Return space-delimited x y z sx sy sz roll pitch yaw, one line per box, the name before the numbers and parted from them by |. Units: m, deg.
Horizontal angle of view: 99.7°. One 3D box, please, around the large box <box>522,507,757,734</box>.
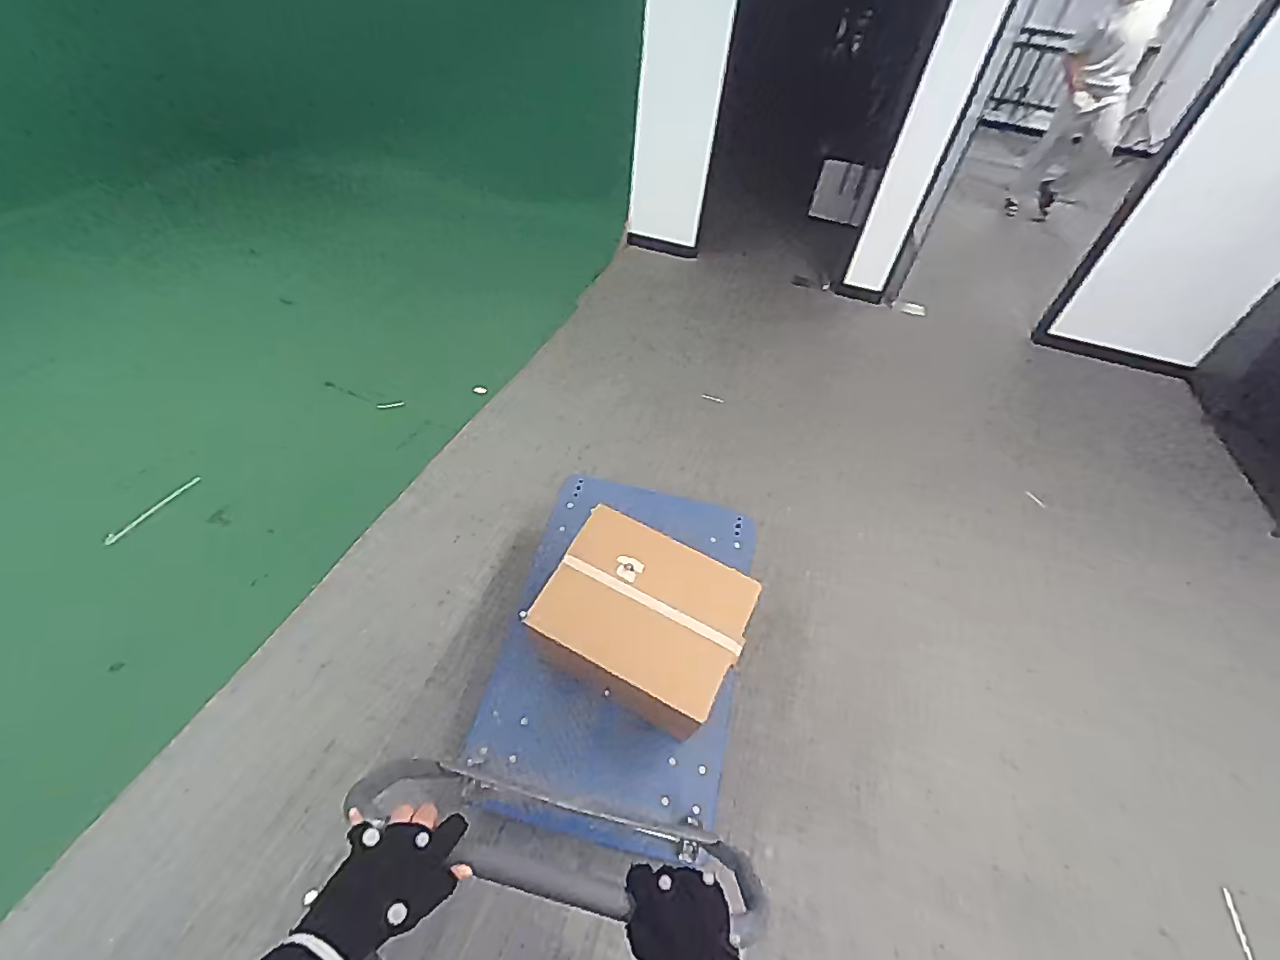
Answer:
large box | 0.003 0.330 1.243 0.408 0.320 0.320 26 61 12
